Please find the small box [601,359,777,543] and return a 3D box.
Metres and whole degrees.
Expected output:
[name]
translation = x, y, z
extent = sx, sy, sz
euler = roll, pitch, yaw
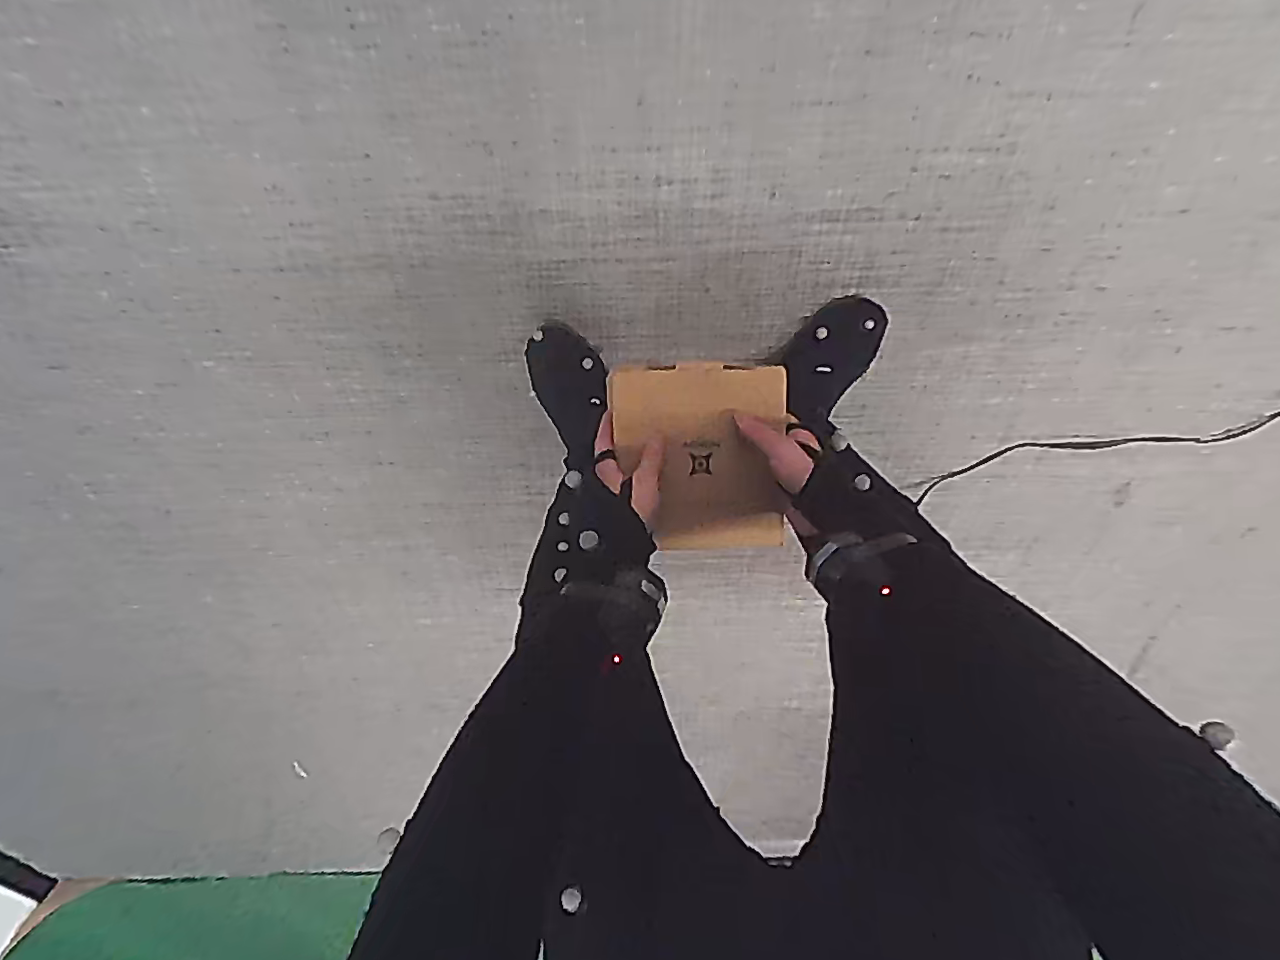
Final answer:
[small box]
translation = 0.041, -0.038, 0.592
extent = 0.168, 0.176, 0.179
euler = -1, 100, -4
